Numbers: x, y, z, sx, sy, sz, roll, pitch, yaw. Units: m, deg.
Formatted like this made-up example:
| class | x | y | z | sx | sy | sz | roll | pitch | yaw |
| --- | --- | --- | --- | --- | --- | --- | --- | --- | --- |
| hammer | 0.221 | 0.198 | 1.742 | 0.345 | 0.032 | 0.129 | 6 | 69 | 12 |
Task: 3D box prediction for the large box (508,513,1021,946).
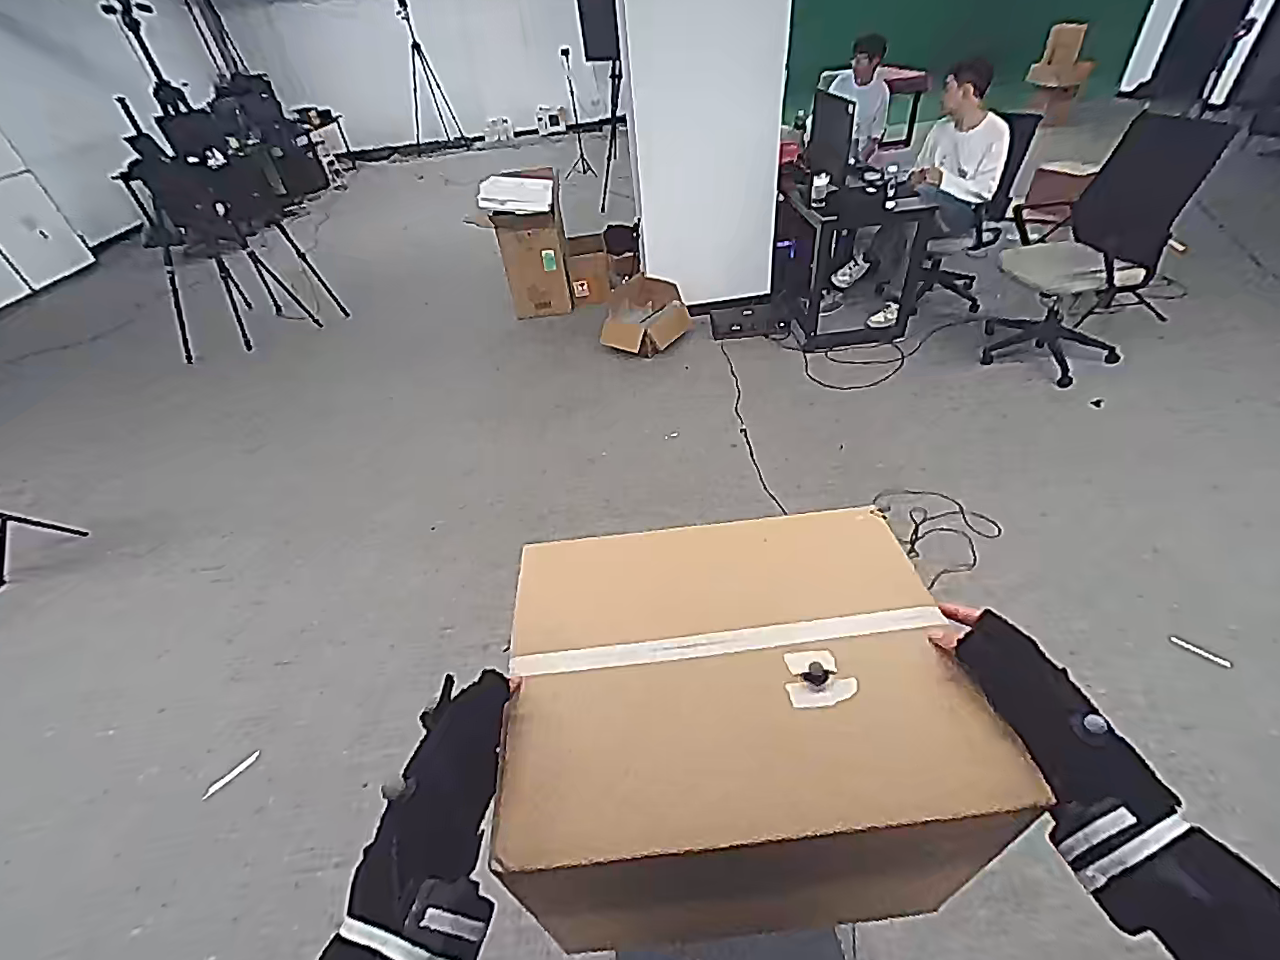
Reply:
| class | x | y | z | sx | sy | sz | roll | pitch | yaw |
| --- | --- | --- | --- | --- | --- | --- | --- | --- | --- |
| large box | 0.092 | 0.272 | 0.612 | 0.408 | 0.320 | 0.320 | -6 | 40 | -1 |
